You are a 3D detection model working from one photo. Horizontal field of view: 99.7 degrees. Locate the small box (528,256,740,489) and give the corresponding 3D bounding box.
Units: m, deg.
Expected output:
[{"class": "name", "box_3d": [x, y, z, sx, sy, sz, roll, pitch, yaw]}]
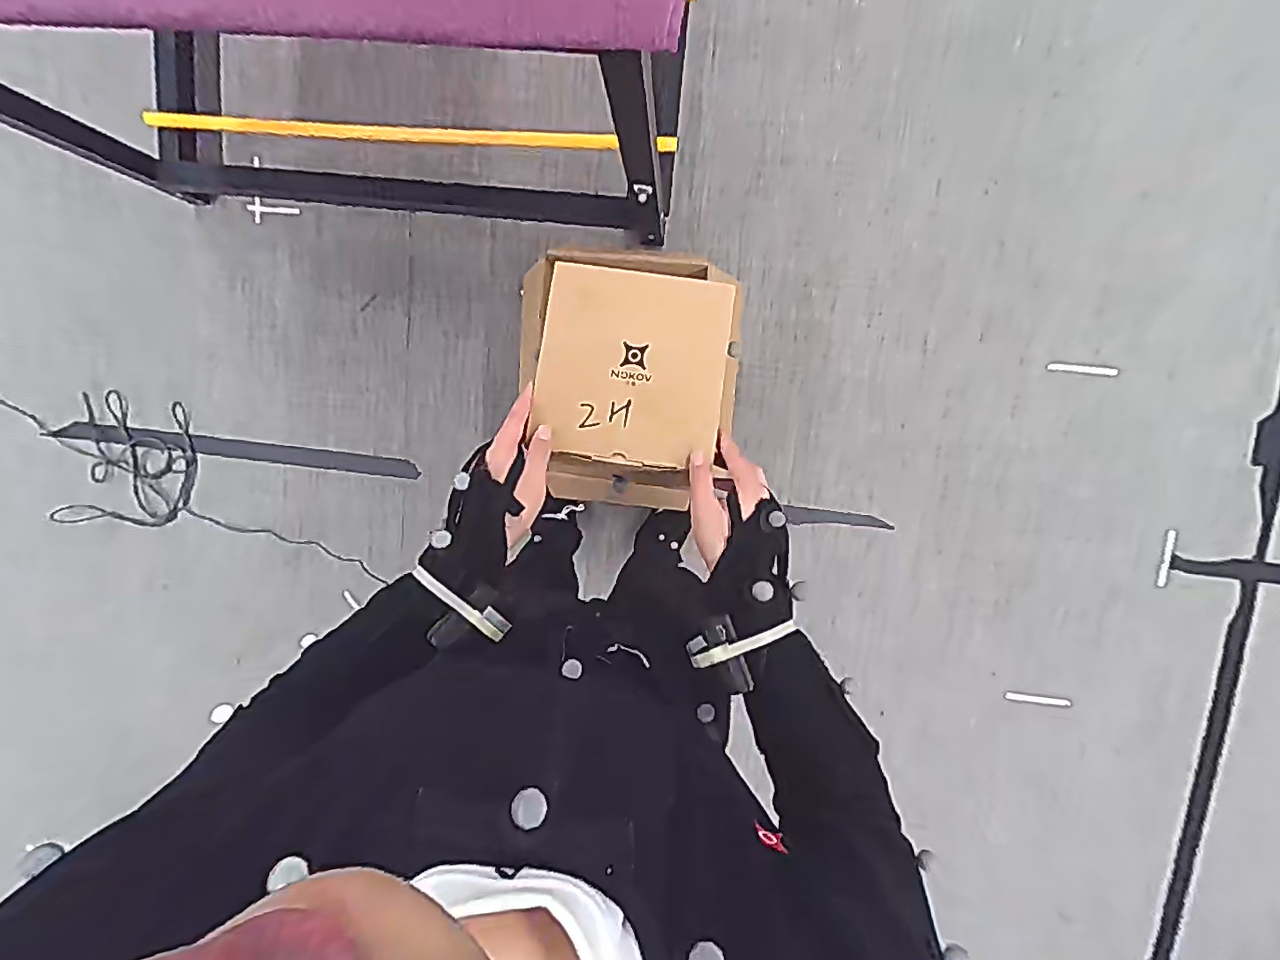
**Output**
[{"class": "small box", "box_3d": [-0.004, -0.094, 0.550, 0.168, 0.176, 0.179, 8, 84, 1]}]
